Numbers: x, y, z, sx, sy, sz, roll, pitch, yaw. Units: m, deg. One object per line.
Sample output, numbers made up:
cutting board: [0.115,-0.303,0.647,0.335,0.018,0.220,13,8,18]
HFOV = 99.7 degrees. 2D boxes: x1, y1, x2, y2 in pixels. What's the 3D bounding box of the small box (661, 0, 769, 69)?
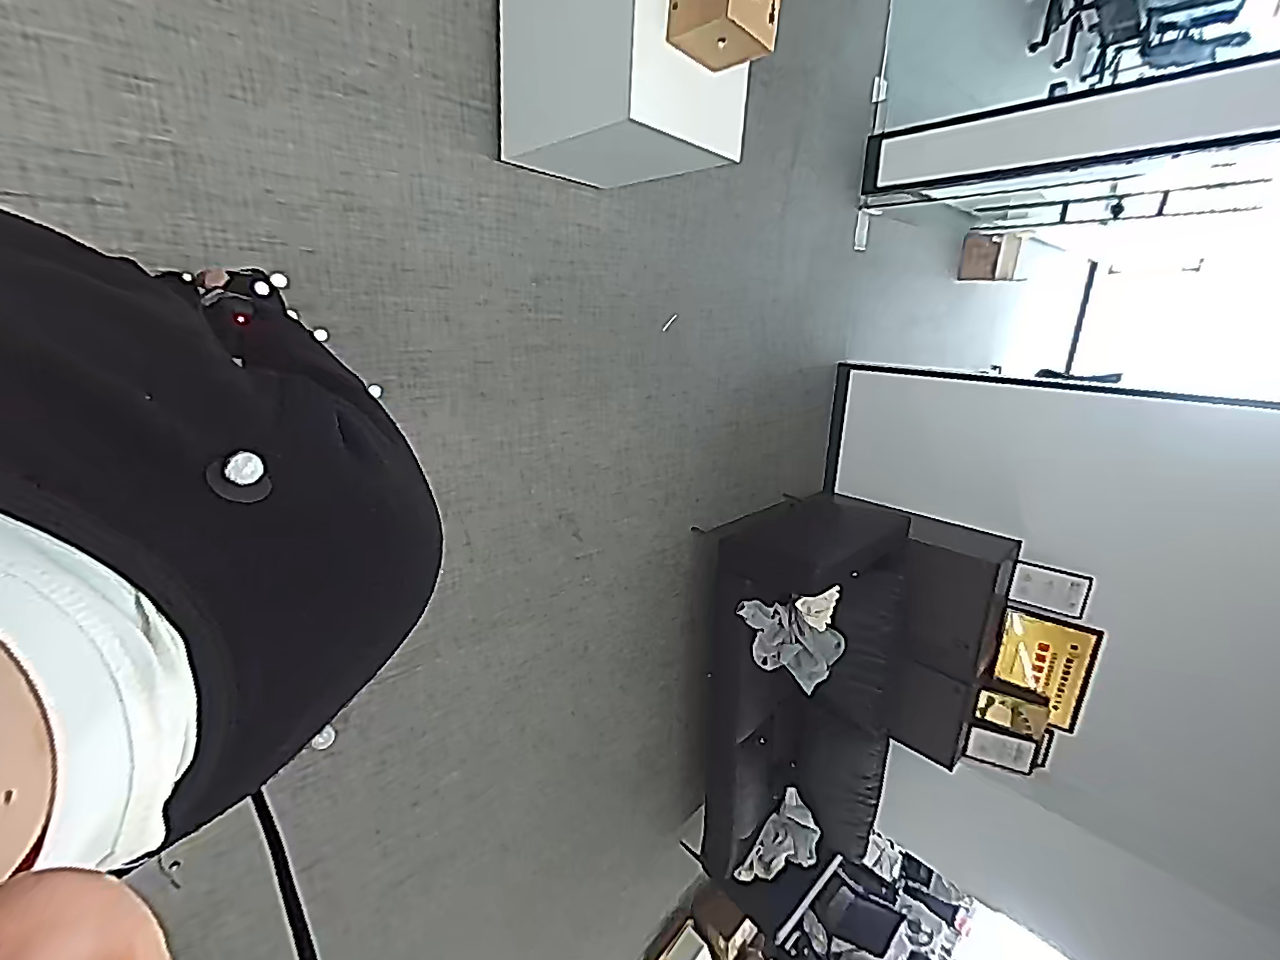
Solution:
small box: [0.161,-1.036,1.178,0.179,0.176,0.168,-13,112,-43]
